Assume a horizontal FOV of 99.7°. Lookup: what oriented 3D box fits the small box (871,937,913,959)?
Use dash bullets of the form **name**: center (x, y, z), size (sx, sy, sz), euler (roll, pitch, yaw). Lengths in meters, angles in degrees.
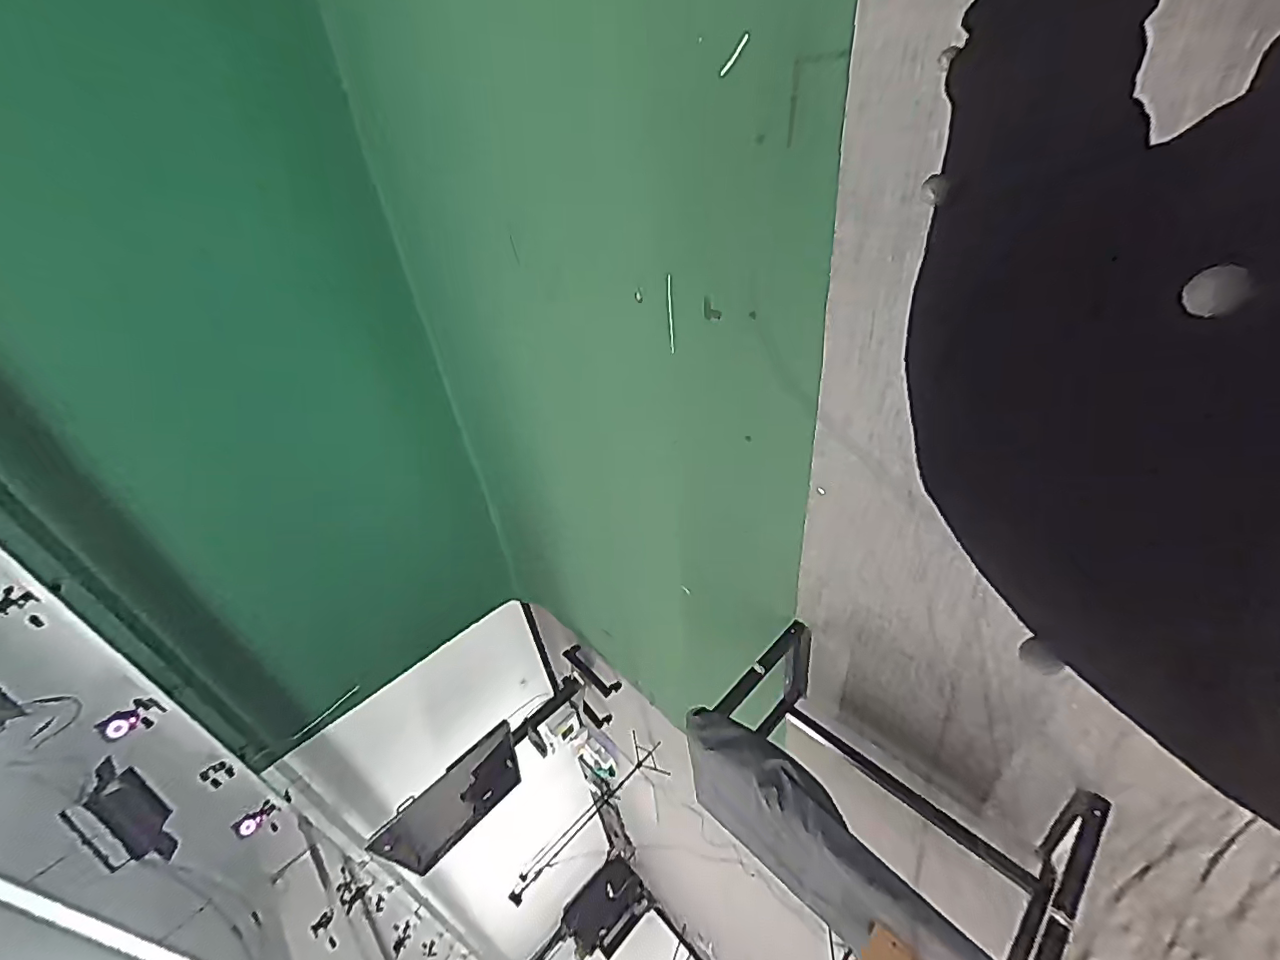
- **small box**: center (0.774, 1.545, 1.636), size (0.168, 0.176, 0.179), euler (26, 138, 41)
